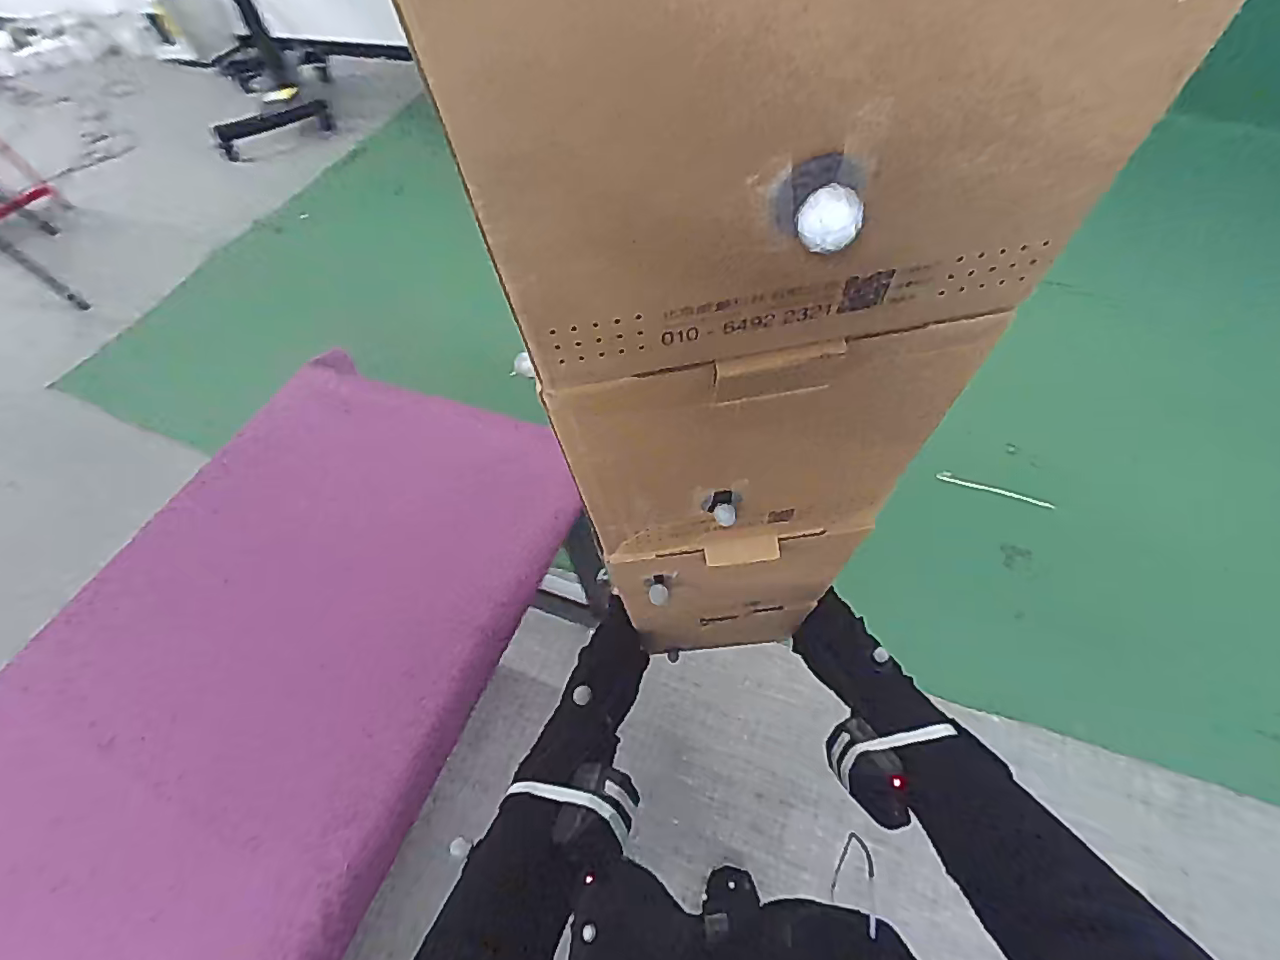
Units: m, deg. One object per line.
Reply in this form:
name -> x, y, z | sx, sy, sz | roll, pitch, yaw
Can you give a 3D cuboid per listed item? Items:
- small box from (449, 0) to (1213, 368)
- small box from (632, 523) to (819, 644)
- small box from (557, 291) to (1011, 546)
small box -> 0.033, -0.161, 0.158 | 0.168, 0.176, 0.179 | -10, 61, 1
small box -> 0.081, 0.075, 0.587 | 0.168, 0.176, 0.179 | -6, 62, 2
small box -> 0.047, -0.082, 0.302 | 0.168, 0.176, 0.179 | -9, 62, 1
